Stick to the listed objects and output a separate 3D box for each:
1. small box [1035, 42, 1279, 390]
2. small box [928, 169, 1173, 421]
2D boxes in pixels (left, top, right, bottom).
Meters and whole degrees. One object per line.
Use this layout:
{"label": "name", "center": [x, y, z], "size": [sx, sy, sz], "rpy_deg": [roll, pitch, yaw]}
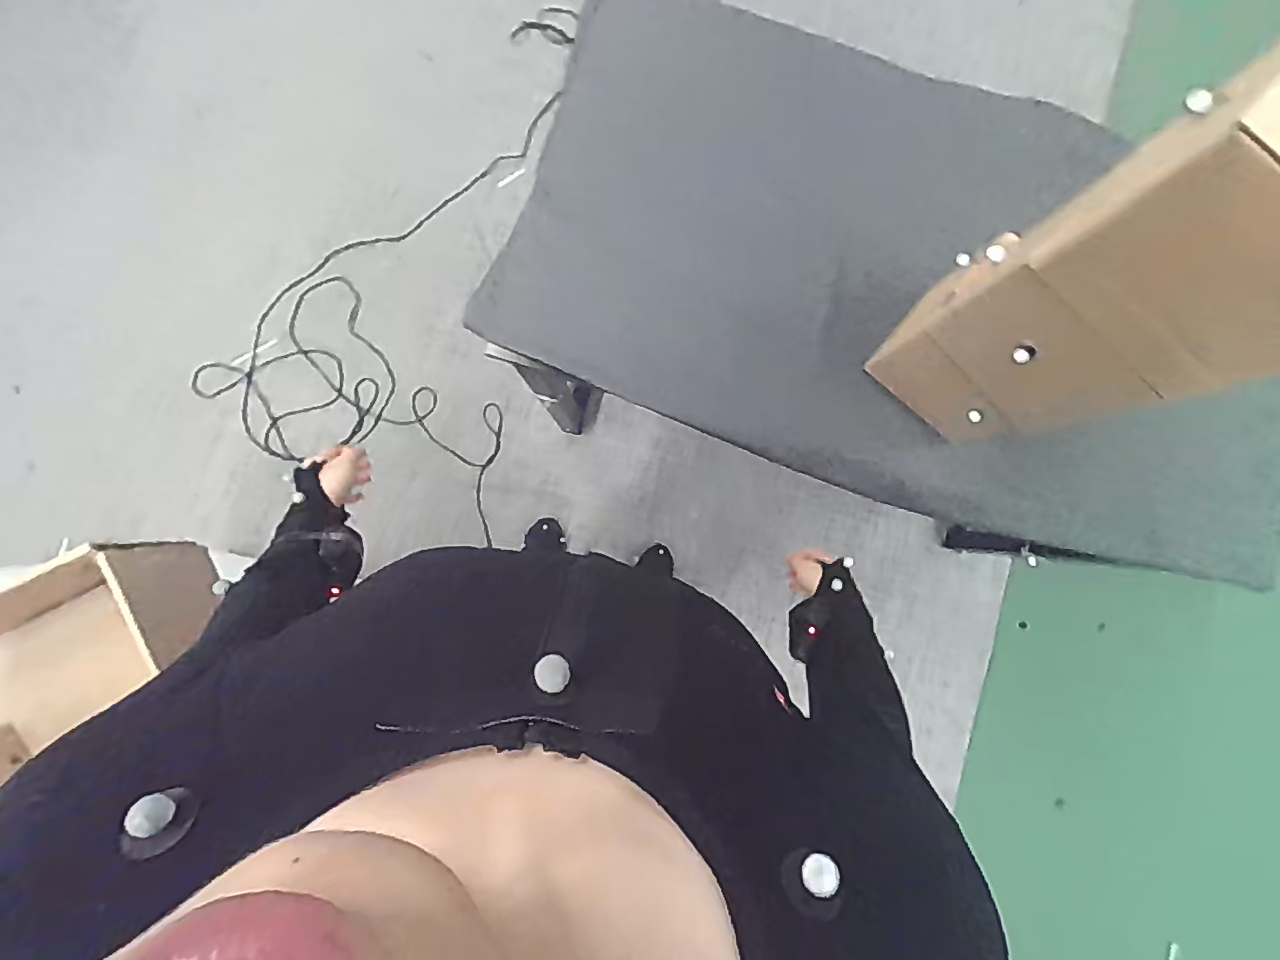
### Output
{"label": "small box", "center": [0.453, -0.192, 0.396], "size": [0.168, 0.176, 0.179], "rpy_deg": [-44, 88, -5]}
{"label": "small box", "center": [0.451, -0.178, 0.558], "size": [0.168, 0.176, 0.179], "rpy_deg": [-41, 87, -5]}
